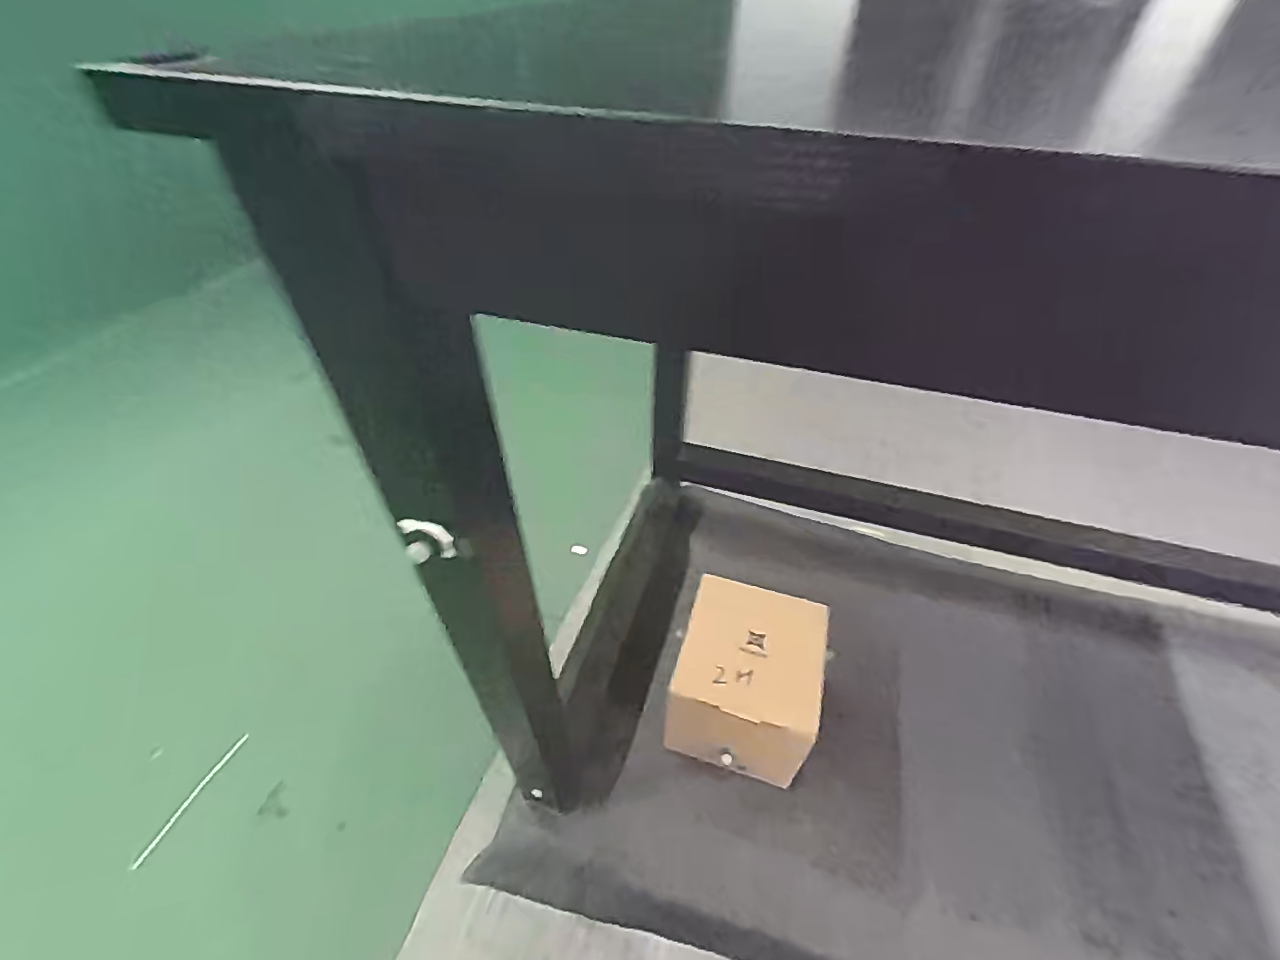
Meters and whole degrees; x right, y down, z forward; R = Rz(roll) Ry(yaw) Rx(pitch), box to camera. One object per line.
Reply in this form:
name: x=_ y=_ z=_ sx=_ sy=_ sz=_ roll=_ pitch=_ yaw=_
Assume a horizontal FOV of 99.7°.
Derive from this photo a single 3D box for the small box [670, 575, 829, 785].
small box: x=0.139 y=0.260 z=0.708 sx=0.168 sy=0.176 sz=0.179 roll=13 pitch=45 yaw=13
